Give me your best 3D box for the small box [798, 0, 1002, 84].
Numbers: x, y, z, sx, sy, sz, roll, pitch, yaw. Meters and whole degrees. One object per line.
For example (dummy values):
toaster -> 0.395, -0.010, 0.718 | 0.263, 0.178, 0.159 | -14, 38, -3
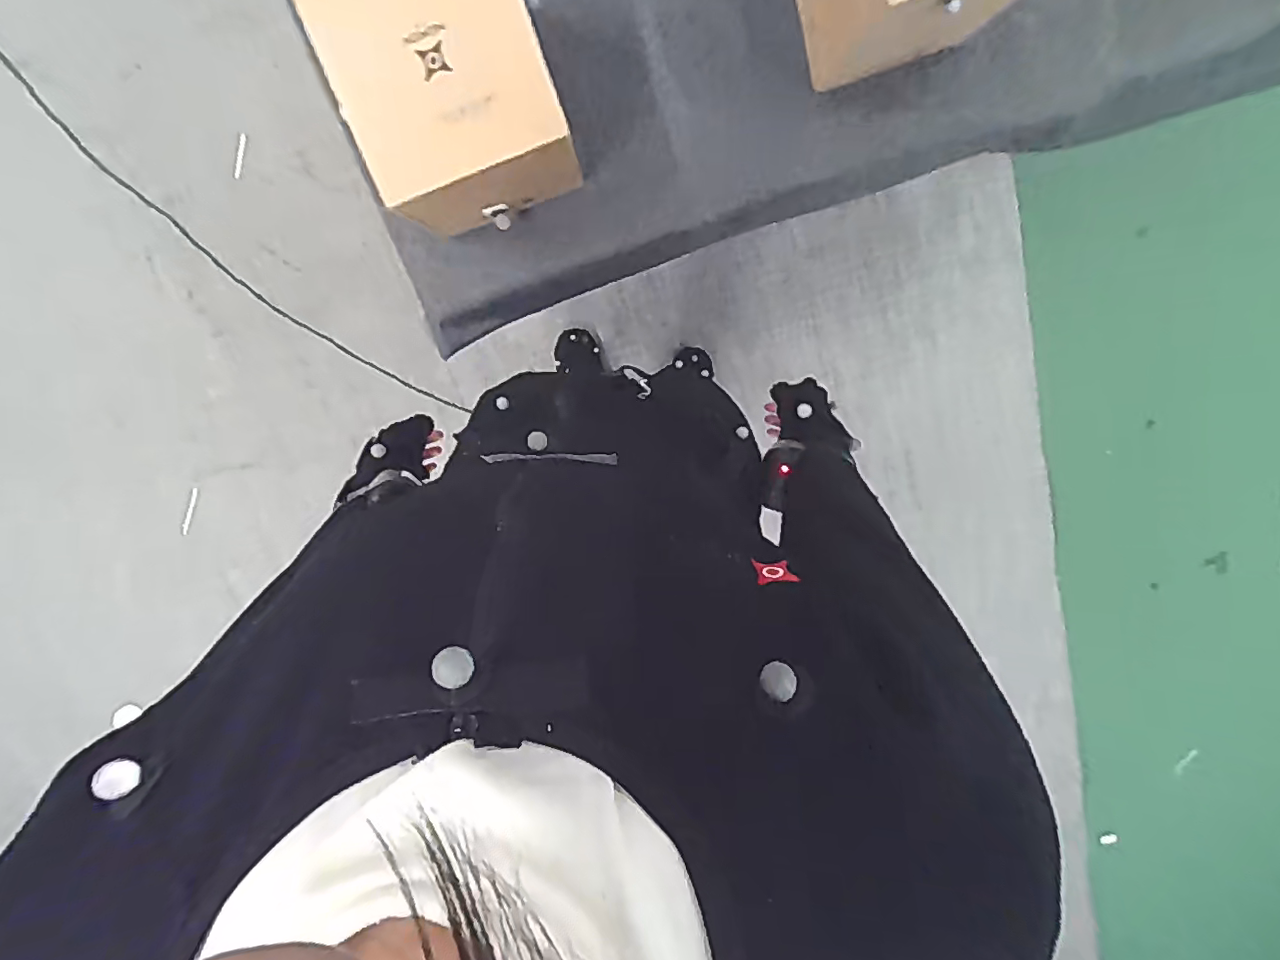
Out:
small box -> 0.237, -0.497, 0.468 | 0.168, 0.176, 0.179 | -18, 106, 3

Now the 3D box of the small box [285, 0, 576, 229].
small box -> -0.166, -0.348, 0.475 | 0.168, 0.176, 0.179 | -18, 106, 5
